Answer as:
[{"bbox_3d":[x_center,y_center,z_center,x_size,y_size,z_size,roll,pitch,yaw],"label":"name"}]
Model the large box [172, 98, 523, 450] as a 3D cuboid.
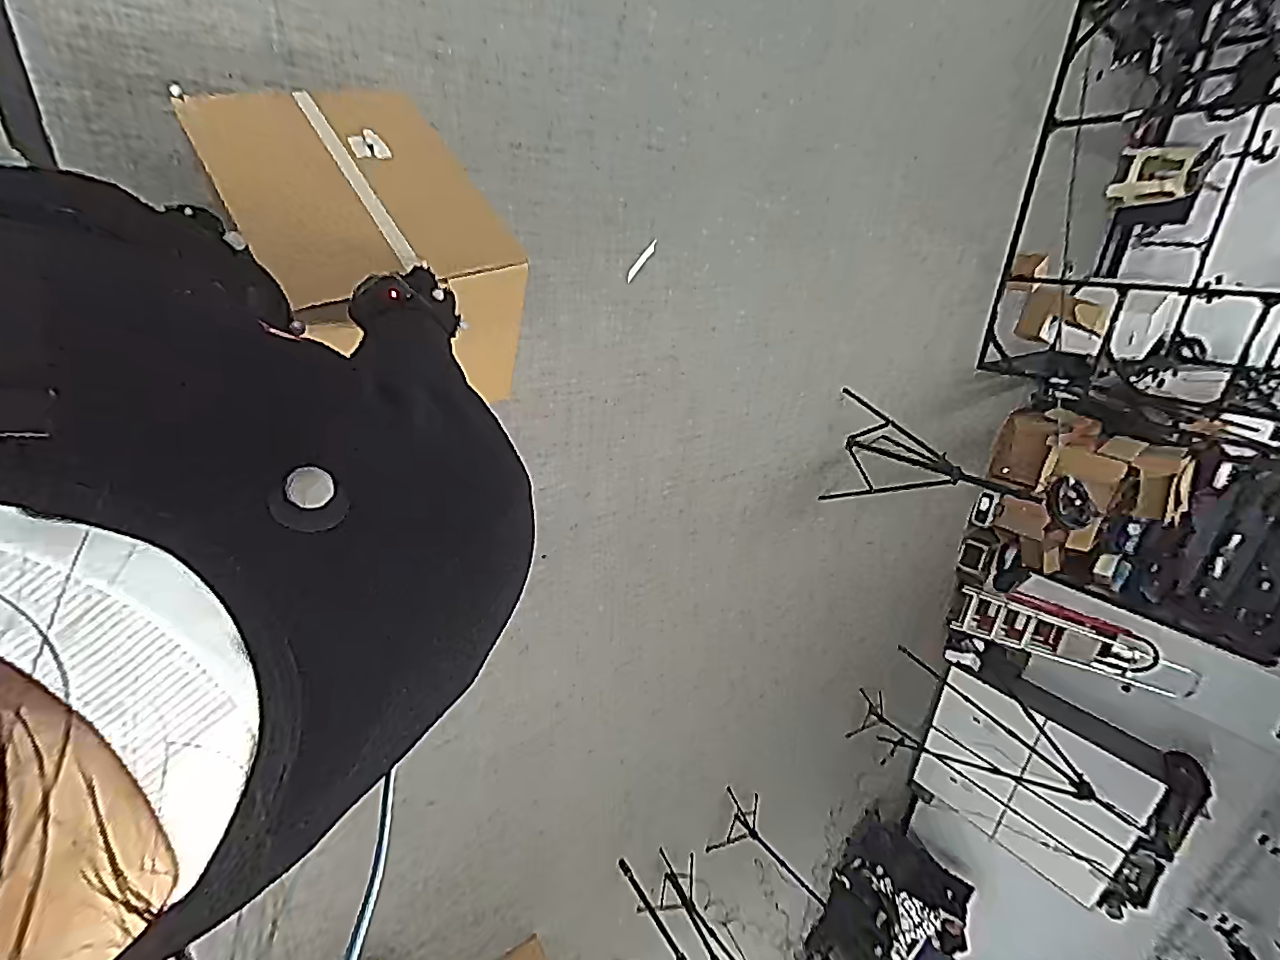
[{"bbox_3d":[-0.436,-0.327,0.867,0.320,0.408,0.320,-27,162,-31],"label":"large box"}]
